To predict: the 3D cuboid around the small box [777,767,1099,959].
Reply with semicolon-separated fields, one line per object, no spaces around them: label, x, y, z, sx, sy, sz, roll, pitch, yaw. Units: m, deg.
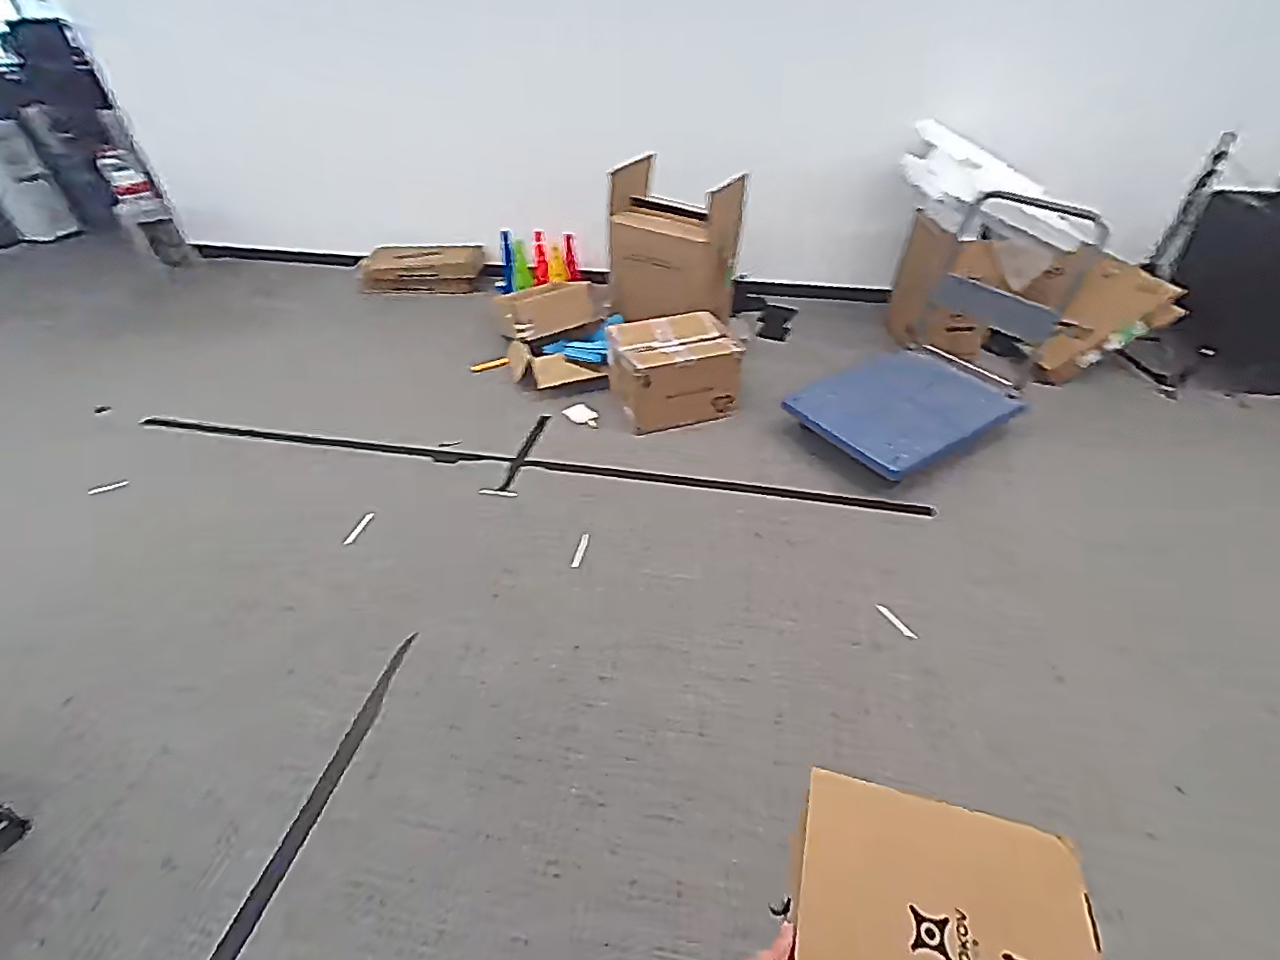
small box;0.192;0.342;0.385;0.179;0.176;0.168;9;43;16
